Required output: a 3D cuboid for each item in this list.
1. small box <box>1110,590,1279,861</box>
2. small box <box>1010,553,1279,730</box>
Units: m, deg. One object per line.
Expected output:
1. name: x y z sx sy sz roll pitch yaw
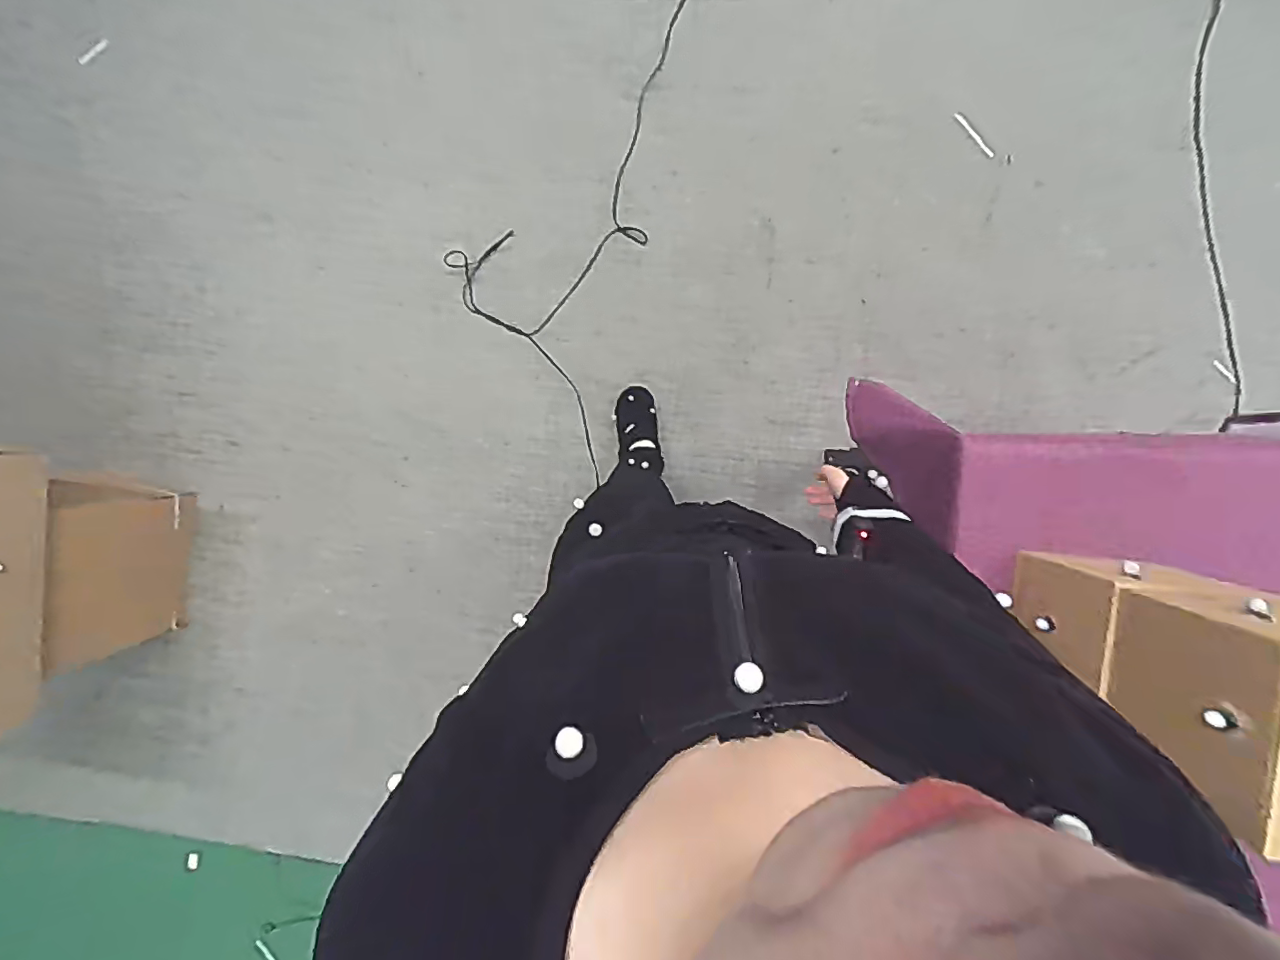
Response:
1. small box: 0.575 0.207 0.485 0.168 0.176 0.179 4 95 5
2. small box: 0.586 0.189 0.647 0.179 0.176 0.168 6 96 3
